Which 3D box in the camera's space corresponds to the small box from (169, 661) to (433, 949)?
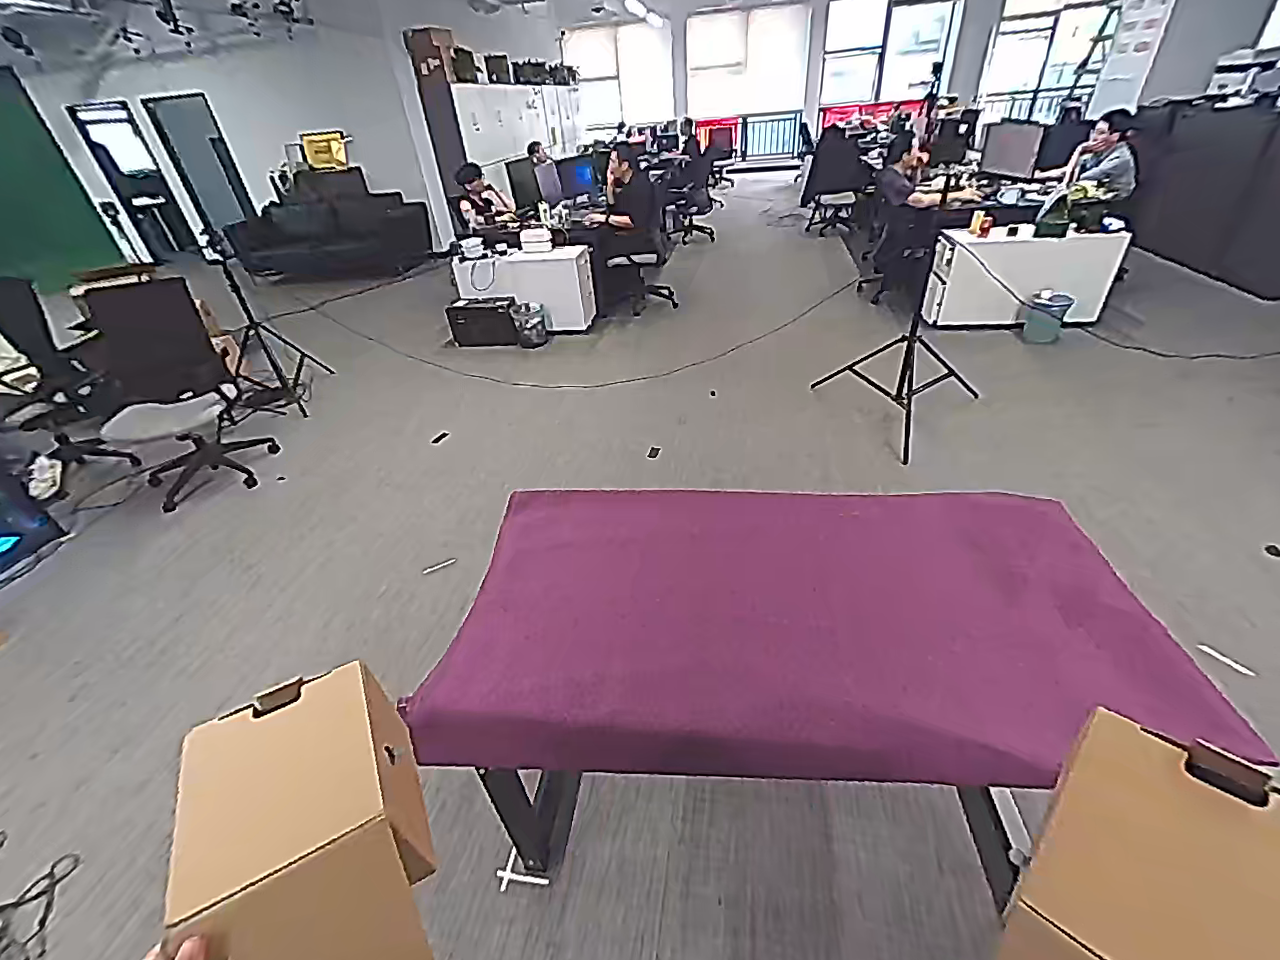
[{"bbox_3d":[-0.327,0.328,0.549,0.168,0.176,0.179,-20,42,-21],"label":"small box"}]
